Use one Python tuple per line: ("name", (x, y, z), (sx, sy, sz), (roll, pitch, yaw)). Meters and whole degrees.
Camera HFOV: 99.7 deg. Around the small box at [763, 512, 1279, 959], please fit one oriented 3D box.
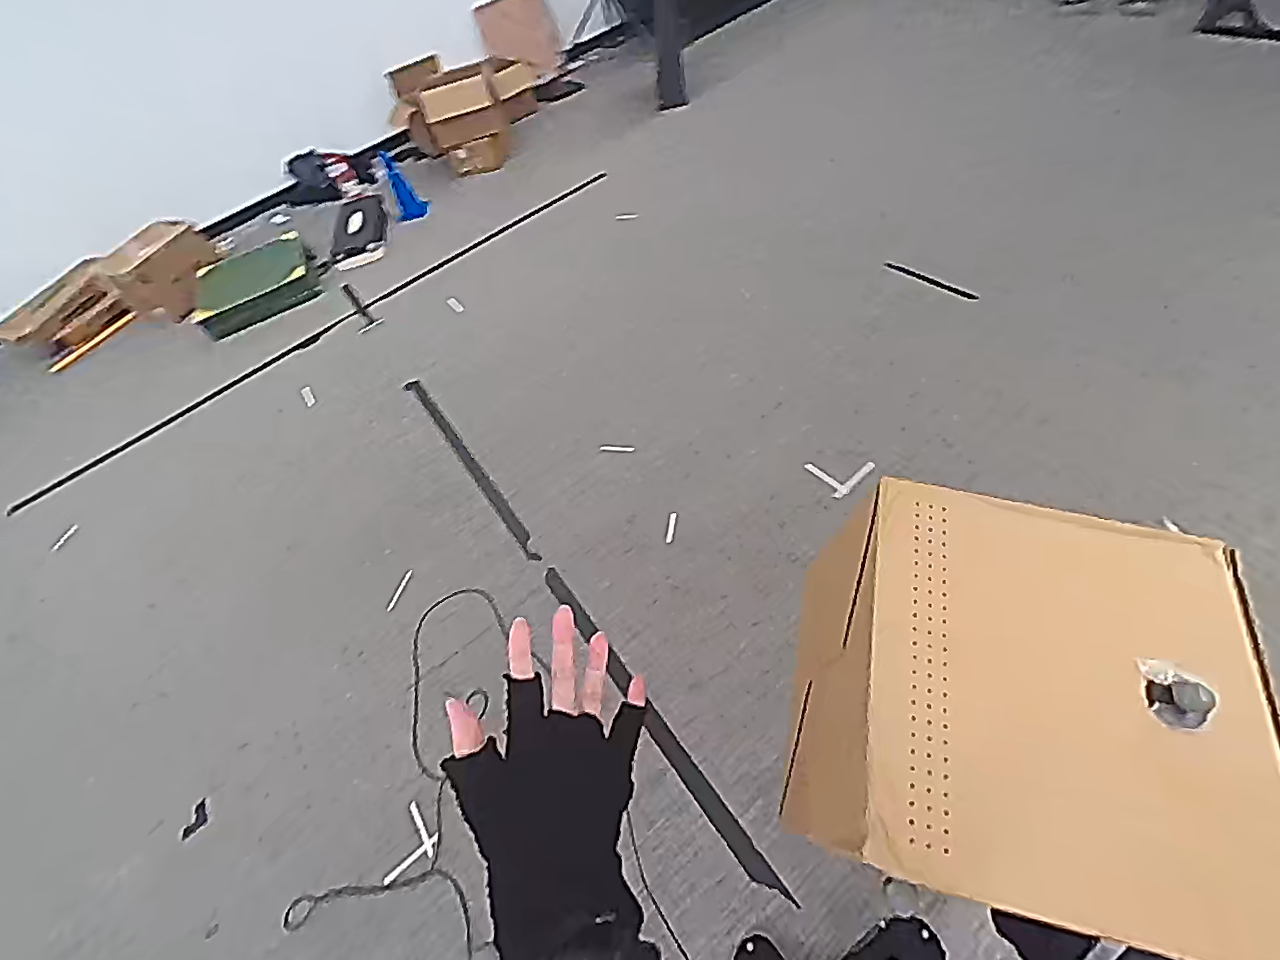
("small box", (0.175, 0.135, 0.314), (0.176, 0.168, 0.179), (10, 62, 8))
